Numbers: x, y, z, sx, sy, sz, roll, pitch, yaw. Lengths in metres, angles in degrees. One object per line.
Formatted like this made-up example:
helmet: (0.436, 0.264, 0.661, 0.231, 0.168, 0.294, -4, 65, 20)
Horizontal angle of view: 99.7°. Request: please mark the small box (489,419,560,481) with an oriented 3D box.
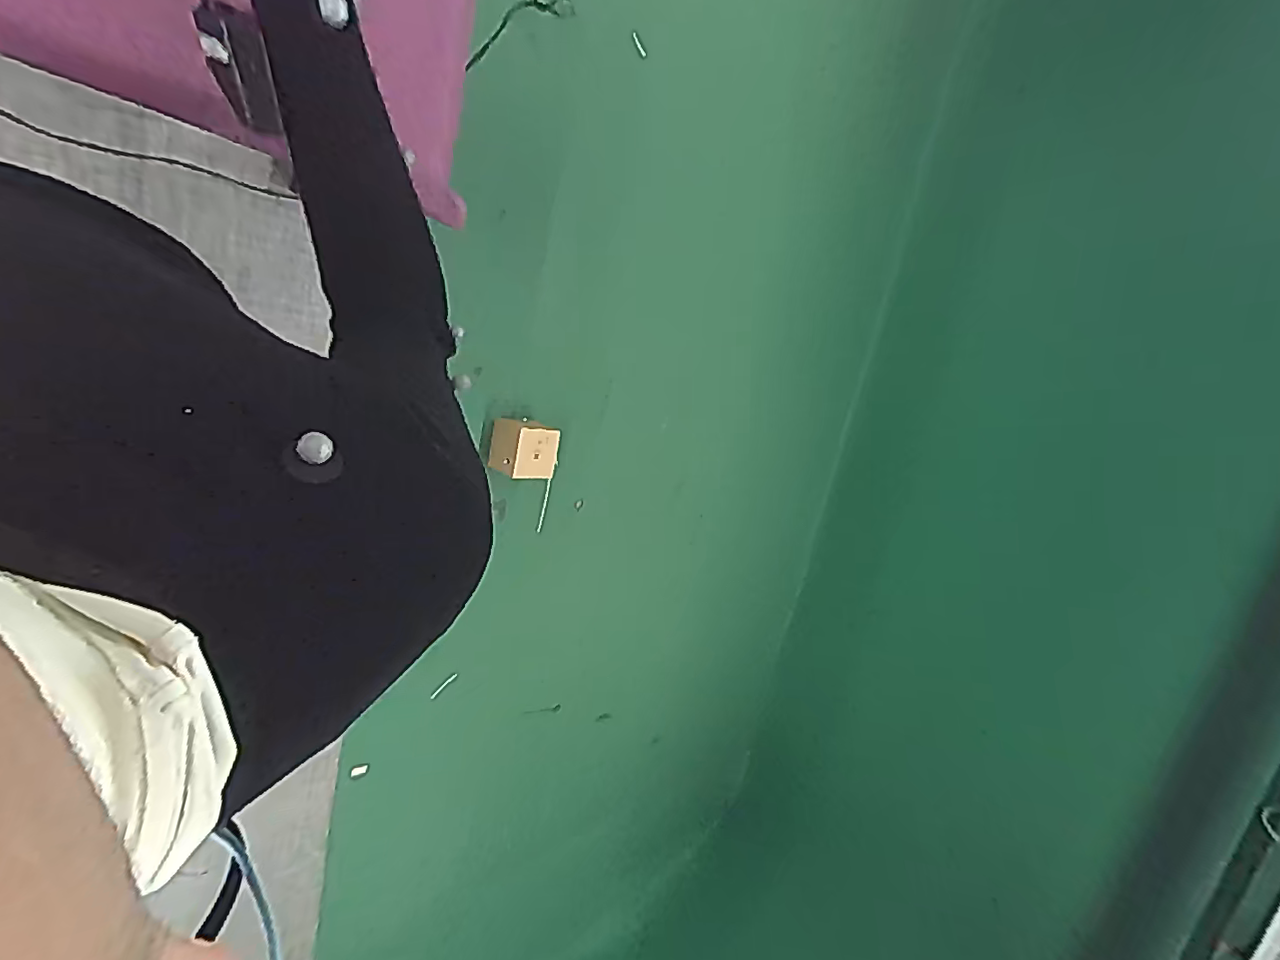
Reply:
small box: (-0.407, -0.105, 1.887, 0.168, 0.176, 0.179, 1, 106, -46)
